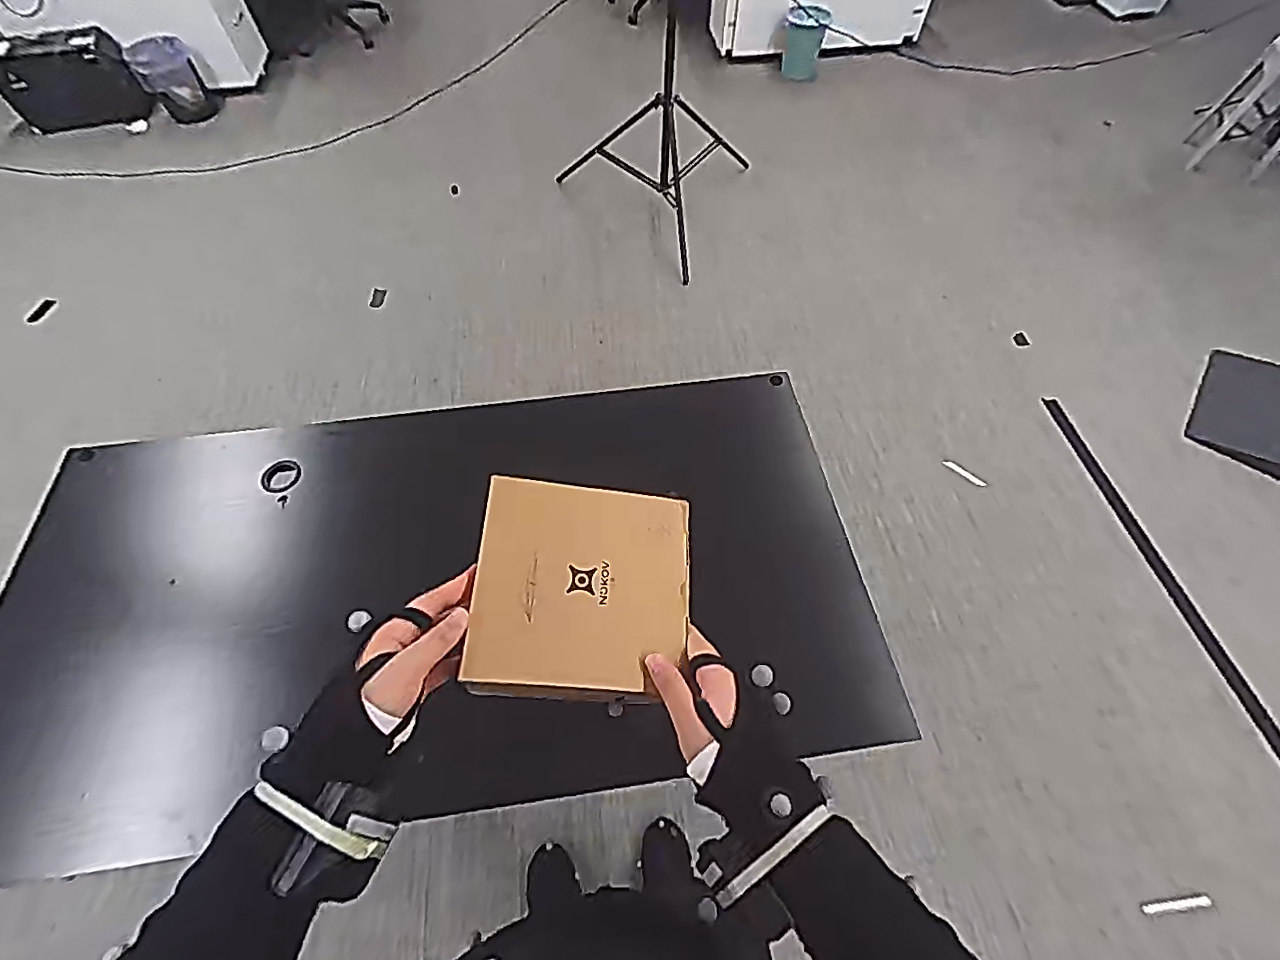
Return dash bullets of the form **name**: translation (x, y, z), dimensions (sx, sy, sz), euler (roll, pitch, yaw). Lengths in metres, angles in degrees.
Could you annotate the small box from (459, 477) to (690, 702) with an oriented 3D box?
- **small box**: translation (-0.061, 0.114, 0.511), dimensions (0.179, 0.176, 0.168), euler (7, 63, -10)
